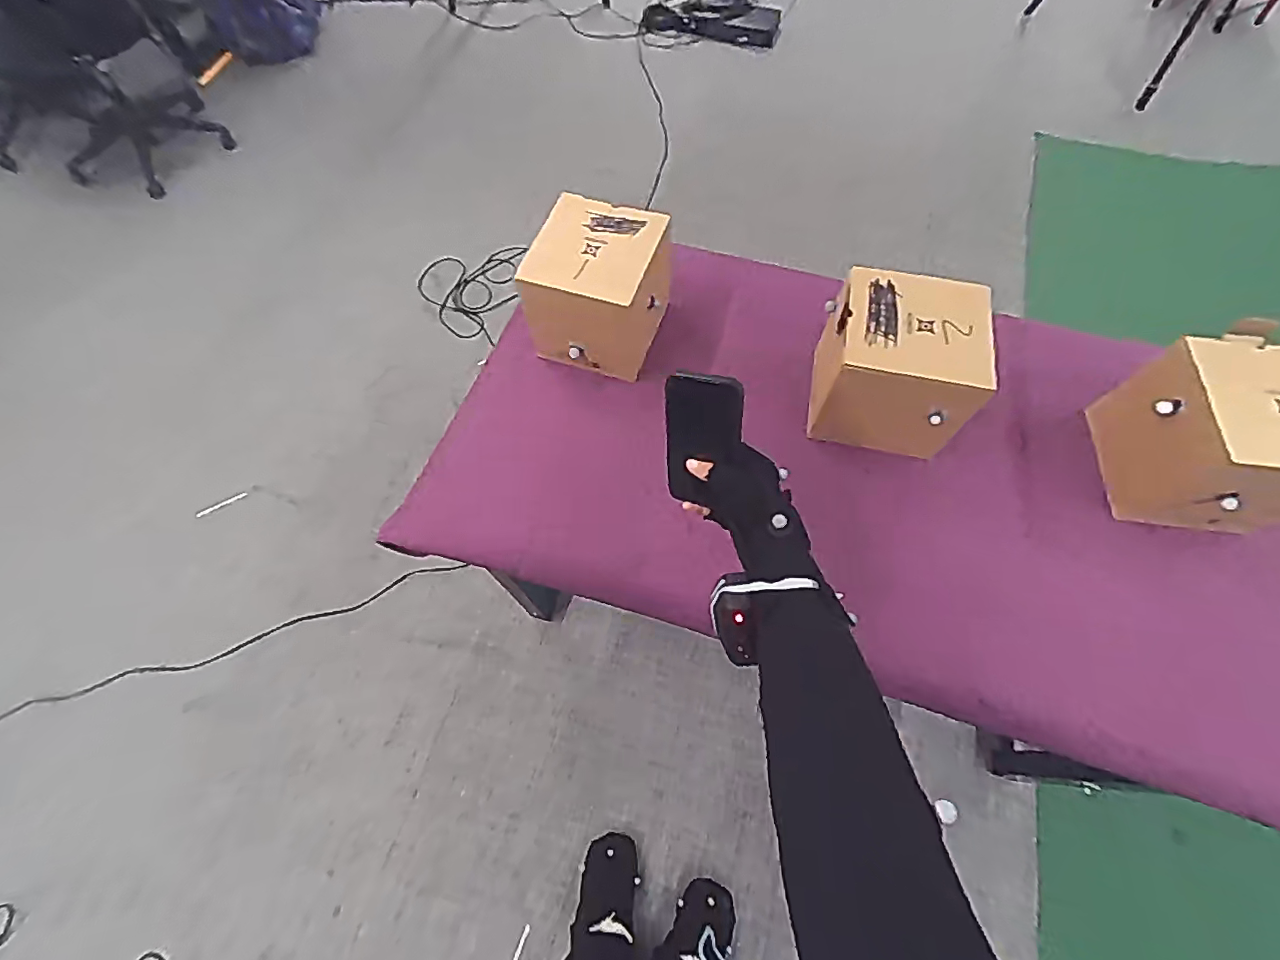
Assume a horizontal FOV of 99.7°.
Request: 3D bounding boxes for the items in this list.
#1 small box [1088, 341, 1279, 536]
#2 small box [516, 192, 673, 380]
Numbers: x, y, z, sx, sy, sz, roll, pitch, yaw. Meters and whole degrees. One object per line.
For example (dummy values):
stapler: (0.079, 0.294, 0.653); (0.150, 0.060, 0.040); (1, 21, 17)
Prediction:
small box: (0.709, -0.043, 0.668); (0.168, 0.176, 0.179); (7, 63, 5)
small box: (-0.059, -0.280, 0.798); (0.168, 0.176, 0.179); (18, 67, 10)
